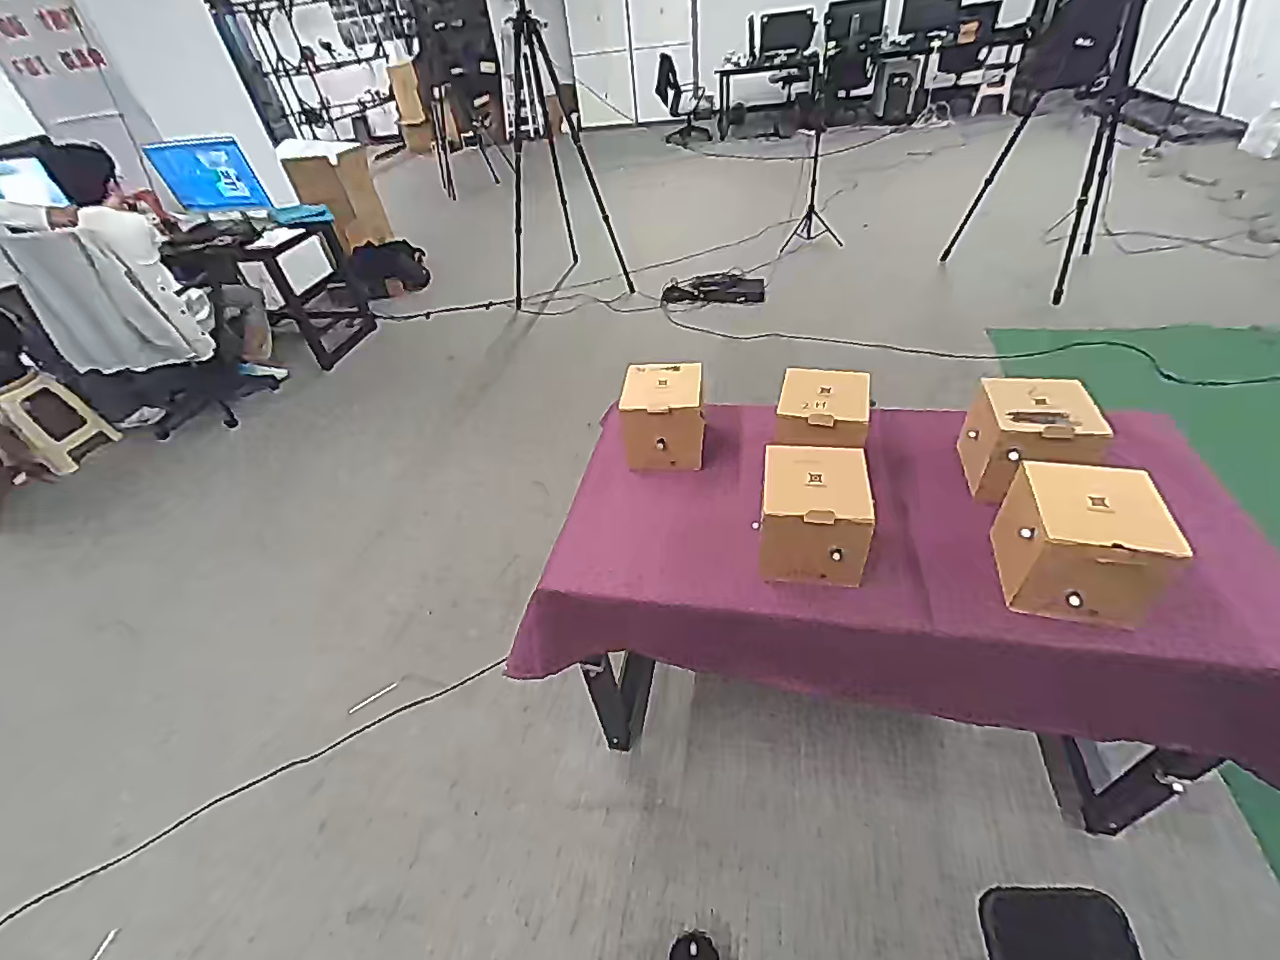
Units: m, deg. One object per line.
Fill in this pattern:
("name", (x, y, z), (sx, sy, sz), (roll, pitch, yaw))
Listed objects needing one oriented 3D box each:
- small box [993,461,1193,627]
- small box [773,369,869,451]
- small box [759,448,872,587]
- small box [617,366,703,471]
("small box", (0.668, 0.095, 0.829), (0.168, 0.176, 0.179), (6, 43, 17))
("small box", (0.368, -0.106, 1.109), (0.168, 0.176, 0.179), (7, 44, 18))
("small box", (0.294, 0.064, 0.931), (0.168, 0.176, 0.179), (3, 42, 13))
("small box", (0.053, -0.133, 1.195), (0.168, 0.176, 0.179), (1, 43, 9))
